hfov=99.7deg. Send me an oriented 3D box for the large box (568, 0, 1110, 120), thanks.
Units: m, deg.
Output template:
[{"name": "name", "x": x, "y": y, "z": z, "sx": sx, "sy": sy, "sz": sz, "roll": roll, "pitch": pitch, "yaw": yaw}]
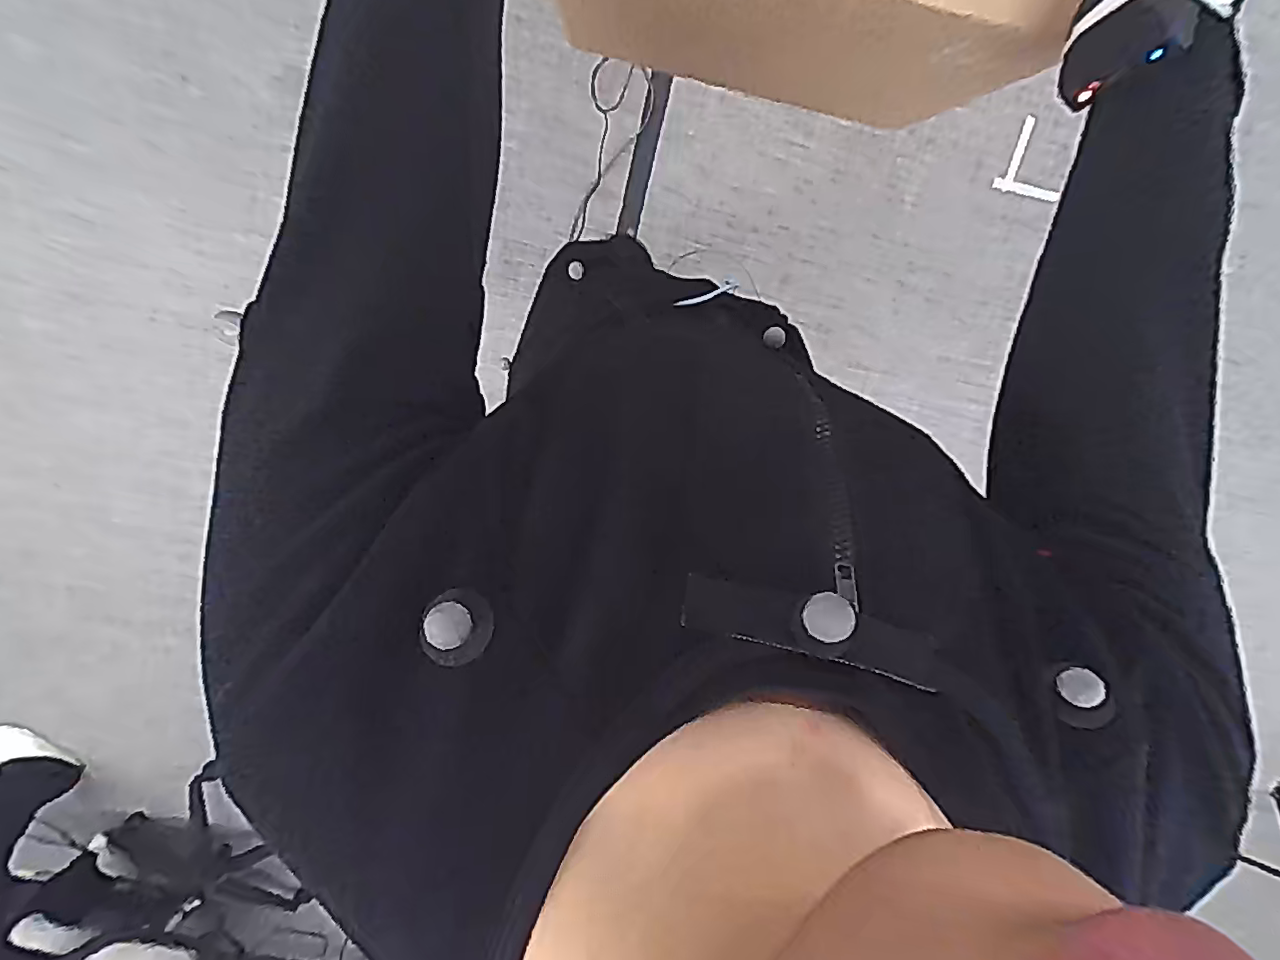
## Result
[{"name": "large box", "x": 0.151, "y": -0.540, "z": 0.439, "sx": 0.408, "sy": 0.320, "sz": 0.320, "roll": 11, "pitch": 115, "yaw": -5}]
